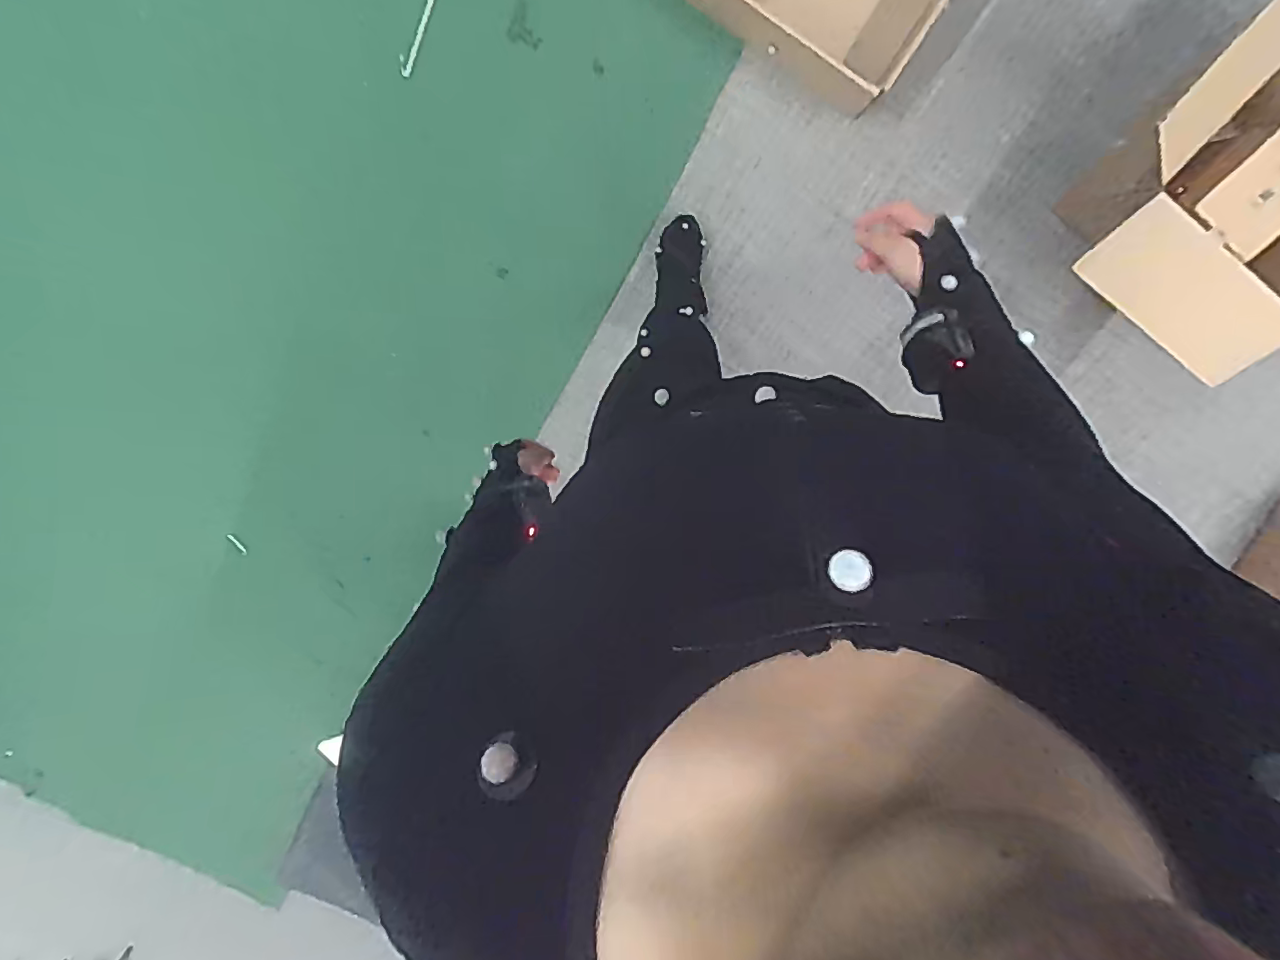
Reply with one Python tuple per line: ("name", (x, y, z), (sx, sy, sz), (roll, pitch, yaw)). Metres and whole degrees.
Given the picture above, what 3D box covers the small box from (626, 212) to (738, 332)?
("small box", (0.104, -0.474, 1.235), (0.179, 0.168, 0.176), (-42, 135, -5))
